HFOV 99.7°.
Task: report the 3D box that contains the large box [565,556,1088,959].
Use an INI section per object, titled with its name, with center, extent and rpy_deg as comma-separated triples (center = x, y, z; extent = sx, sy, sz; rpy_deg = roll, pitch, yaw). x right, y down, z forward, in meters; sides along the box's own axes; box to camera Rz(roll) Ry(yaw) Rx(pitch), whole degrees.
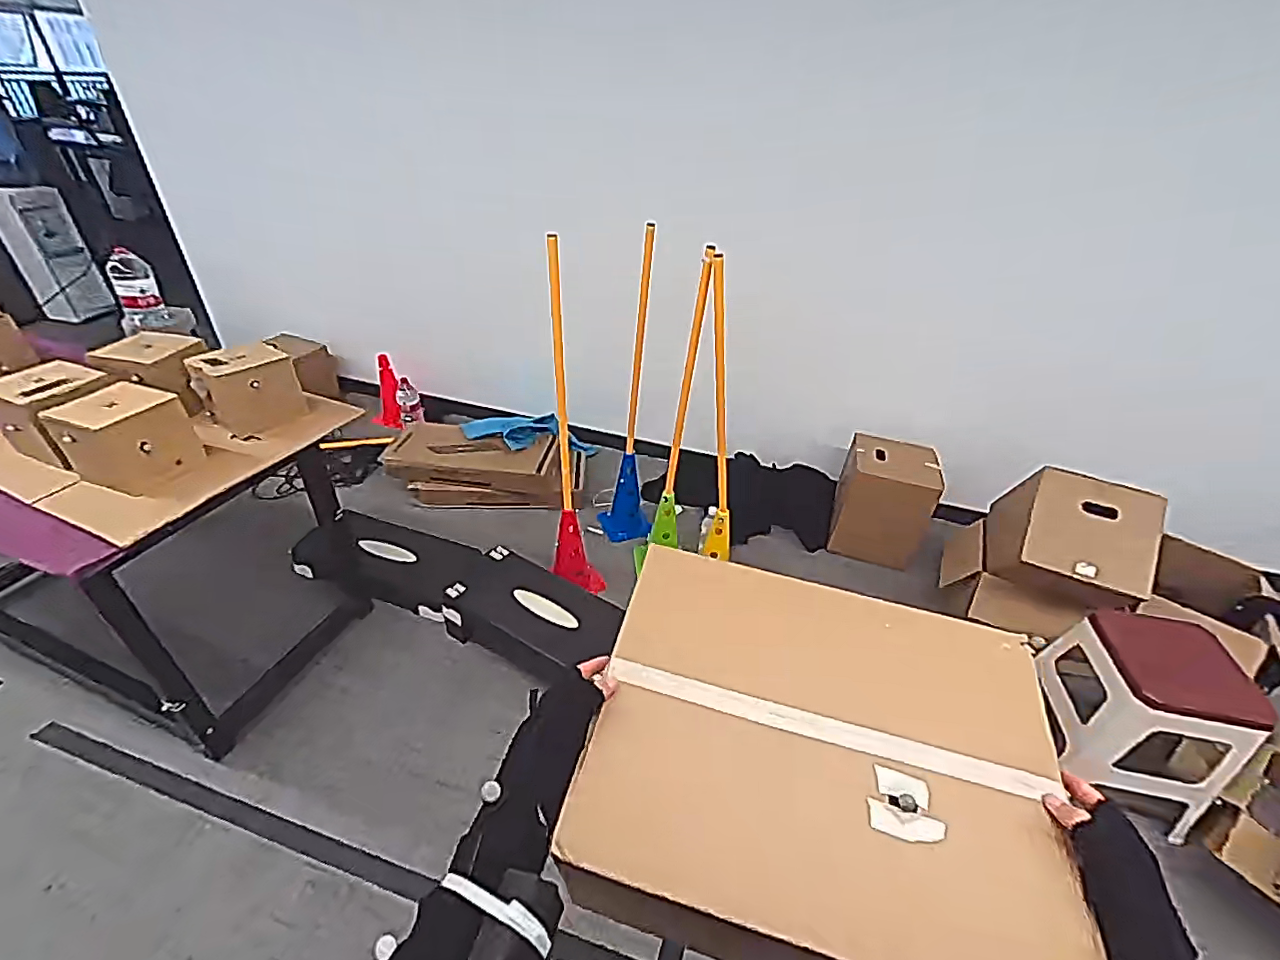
[large box]
center = 0.158, 0.336, 0.607
extent = 0.408, 0.320, 0.320
rpy_deg = 13, 48, 9
